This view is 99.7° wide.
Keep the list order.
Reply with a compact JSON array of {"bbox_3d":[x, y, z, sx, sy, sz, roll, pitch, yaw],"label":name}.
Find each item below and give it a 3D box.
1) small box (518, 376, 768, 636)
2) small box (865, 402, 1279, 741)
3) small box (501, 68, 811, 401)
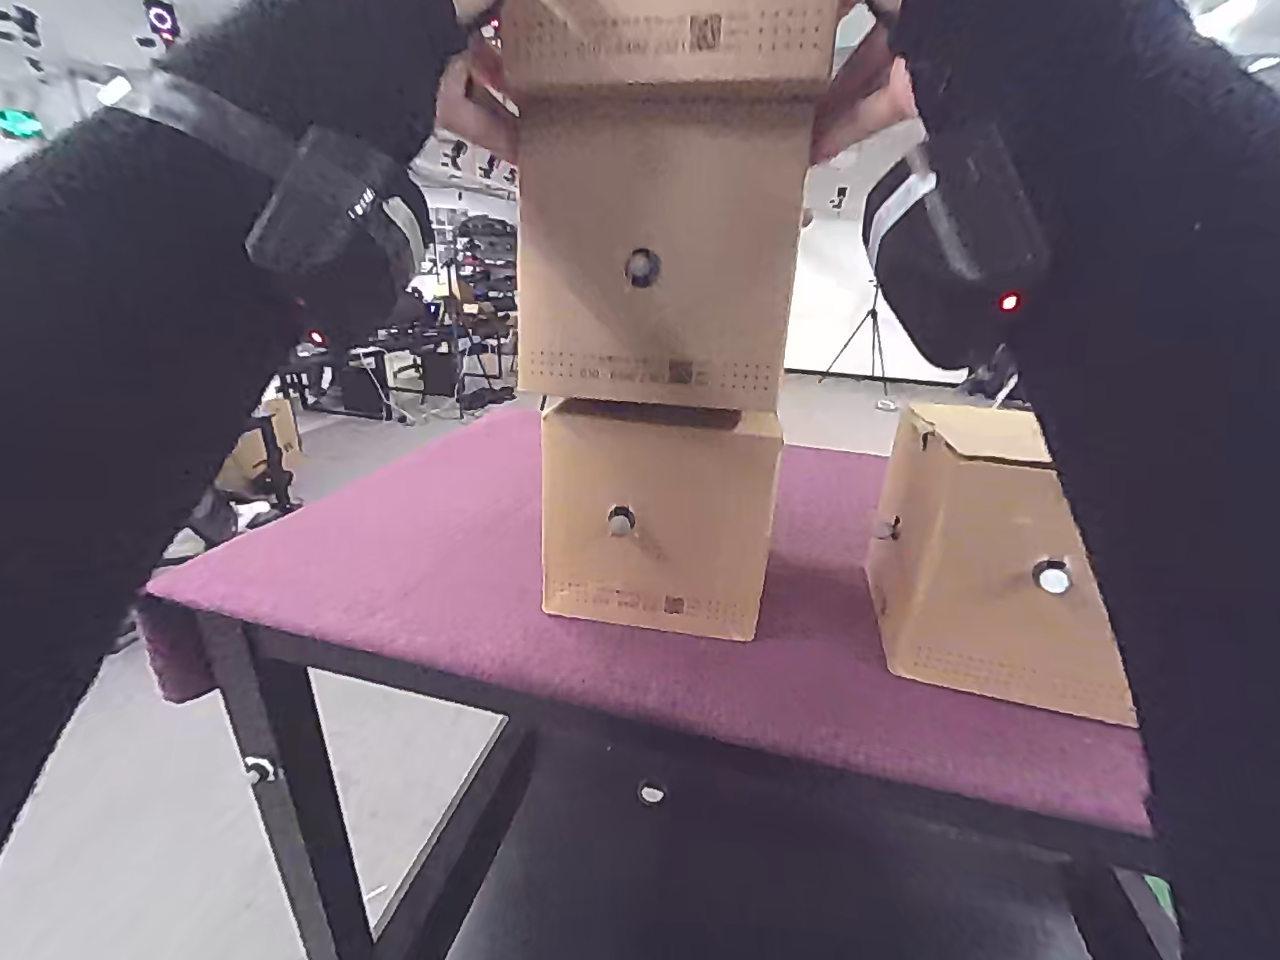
[{"bbox_3d":[0.010,0.004,0.448,0.168,0.176,0.179,7,21,7],"label":"small box"},{"bbox_3d":[0.271,0.051,0.388,0.179,0.176,0.168,10,23,13],"label":"small box"},{"bbox_3d":[0.014,-0.153,0.379,0.168,0.176,0.179,8,17,8],"label":"small box"}]
